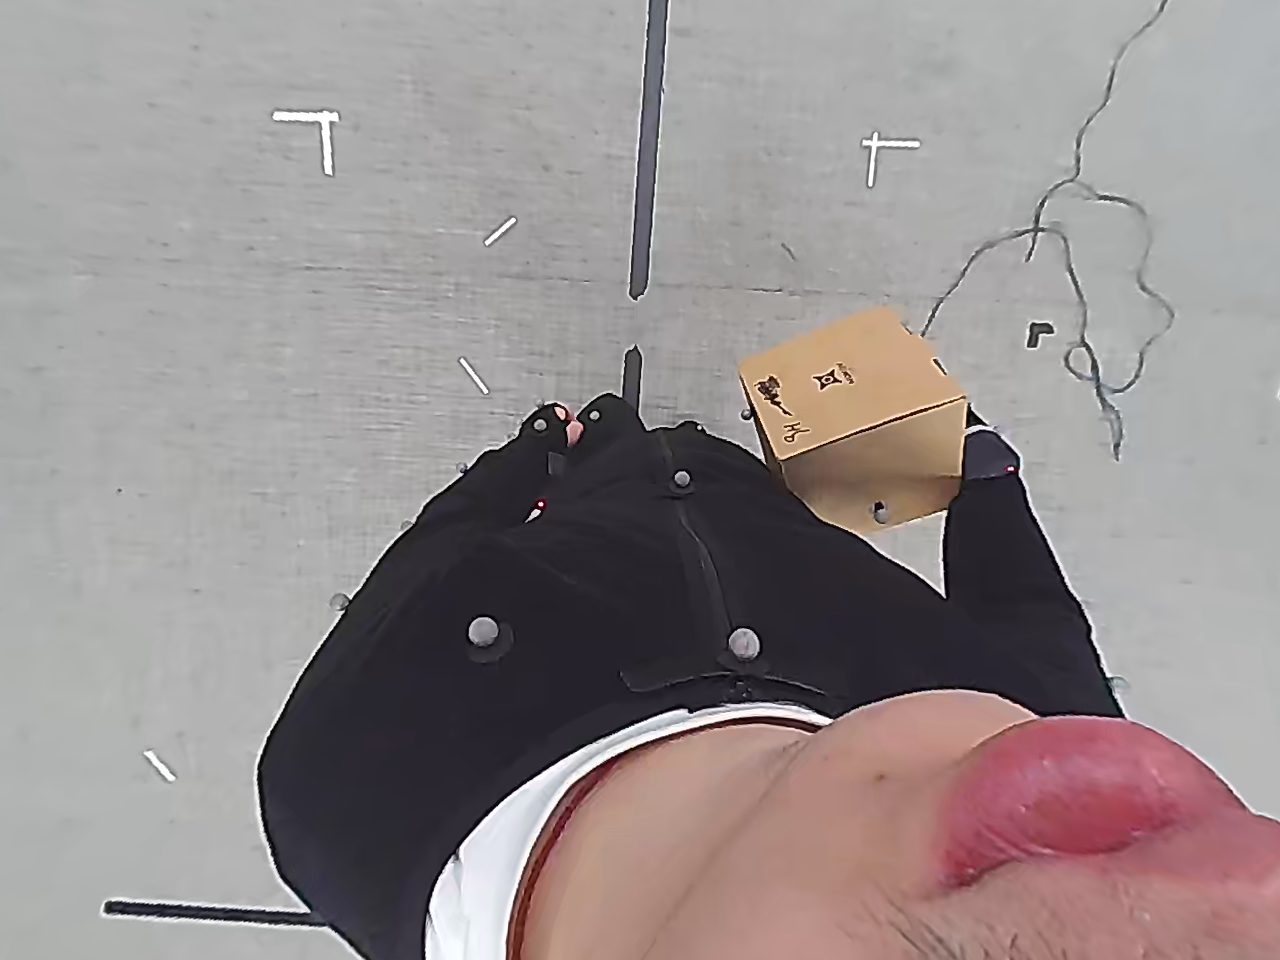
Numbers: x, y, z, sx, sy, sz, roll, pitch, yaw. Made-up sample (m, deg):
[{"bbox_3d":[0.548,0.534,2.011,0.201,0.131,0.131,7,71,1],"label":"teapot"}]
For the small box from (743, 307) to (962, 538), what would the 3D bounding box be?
[{"bbox_3d":[0.237,-0.060,0.625,0.179,0.168,0.176,-20,134,10],"label":"small box"}]
